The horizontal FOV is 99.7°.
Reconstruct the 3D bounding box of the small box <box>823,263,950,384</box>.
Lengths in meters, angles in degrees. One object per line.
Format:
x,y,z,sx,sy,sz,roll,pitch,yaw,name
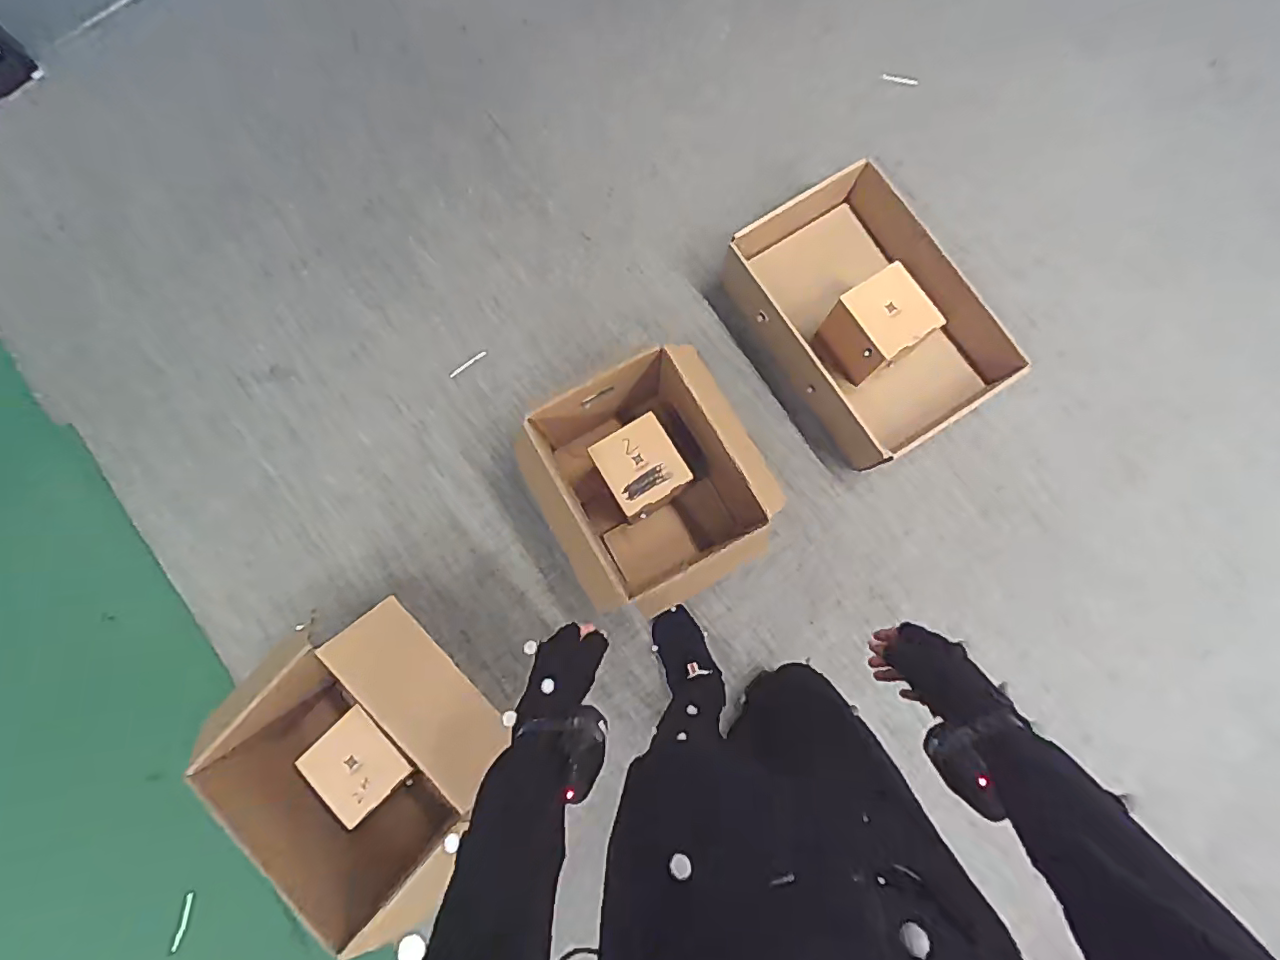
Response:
0.555,-0.352,1.246,0.168,0.176,0.179,-33,82,-5,small box
